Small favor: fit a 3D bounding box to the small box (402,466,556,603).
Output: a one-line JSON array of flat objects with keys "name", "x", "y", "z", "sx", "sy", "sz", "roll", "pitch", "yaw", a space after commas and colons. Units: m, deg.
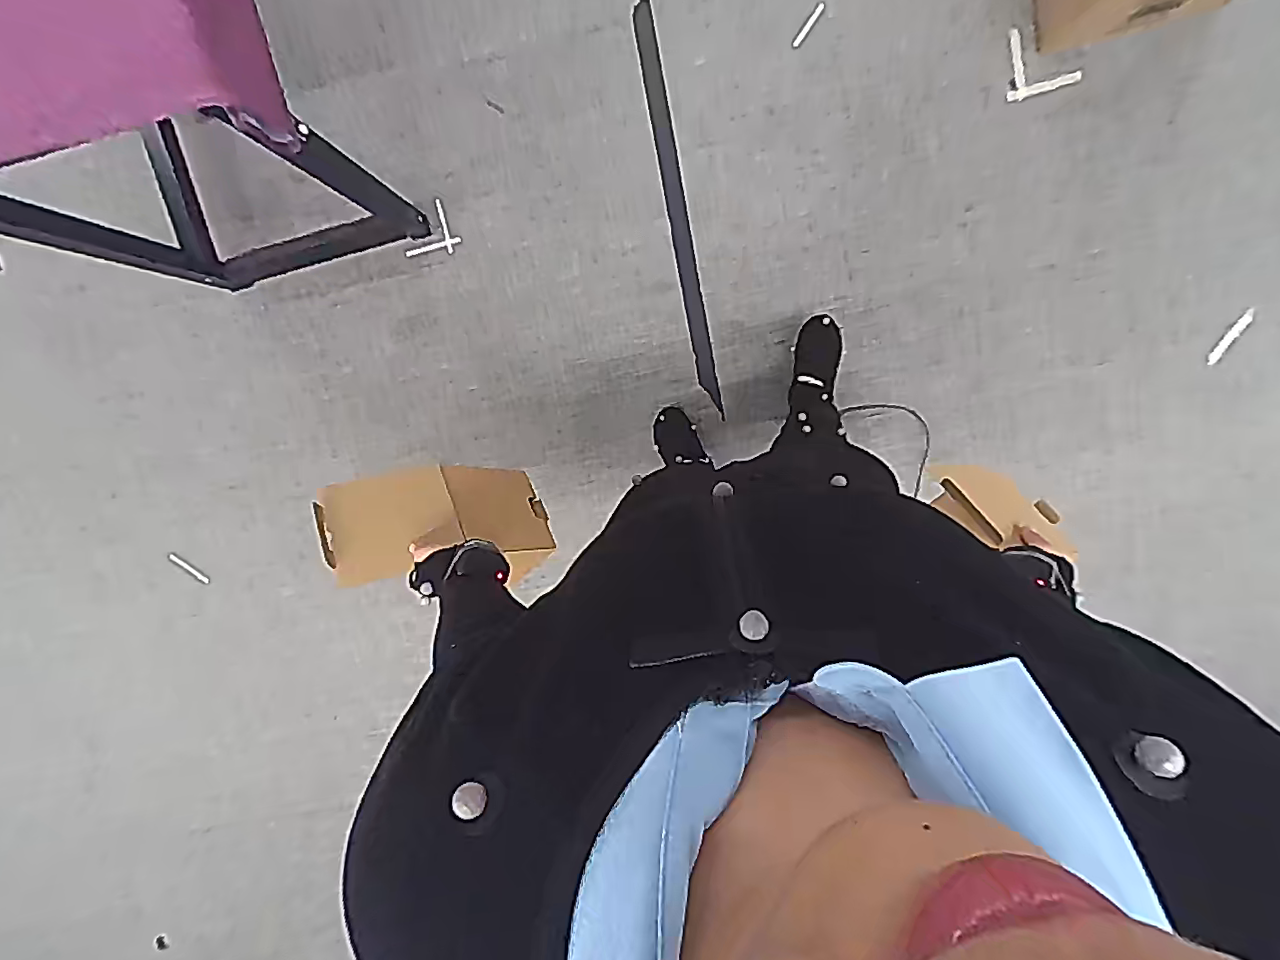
[{"name": "small box", "x": -0.280, "y": 0.094, "z": 0.915, "sx": 0.176, "sy": 0.179, "sz": 0.168, "roll": -40, "pitch": 64, "yaw": 30}]
